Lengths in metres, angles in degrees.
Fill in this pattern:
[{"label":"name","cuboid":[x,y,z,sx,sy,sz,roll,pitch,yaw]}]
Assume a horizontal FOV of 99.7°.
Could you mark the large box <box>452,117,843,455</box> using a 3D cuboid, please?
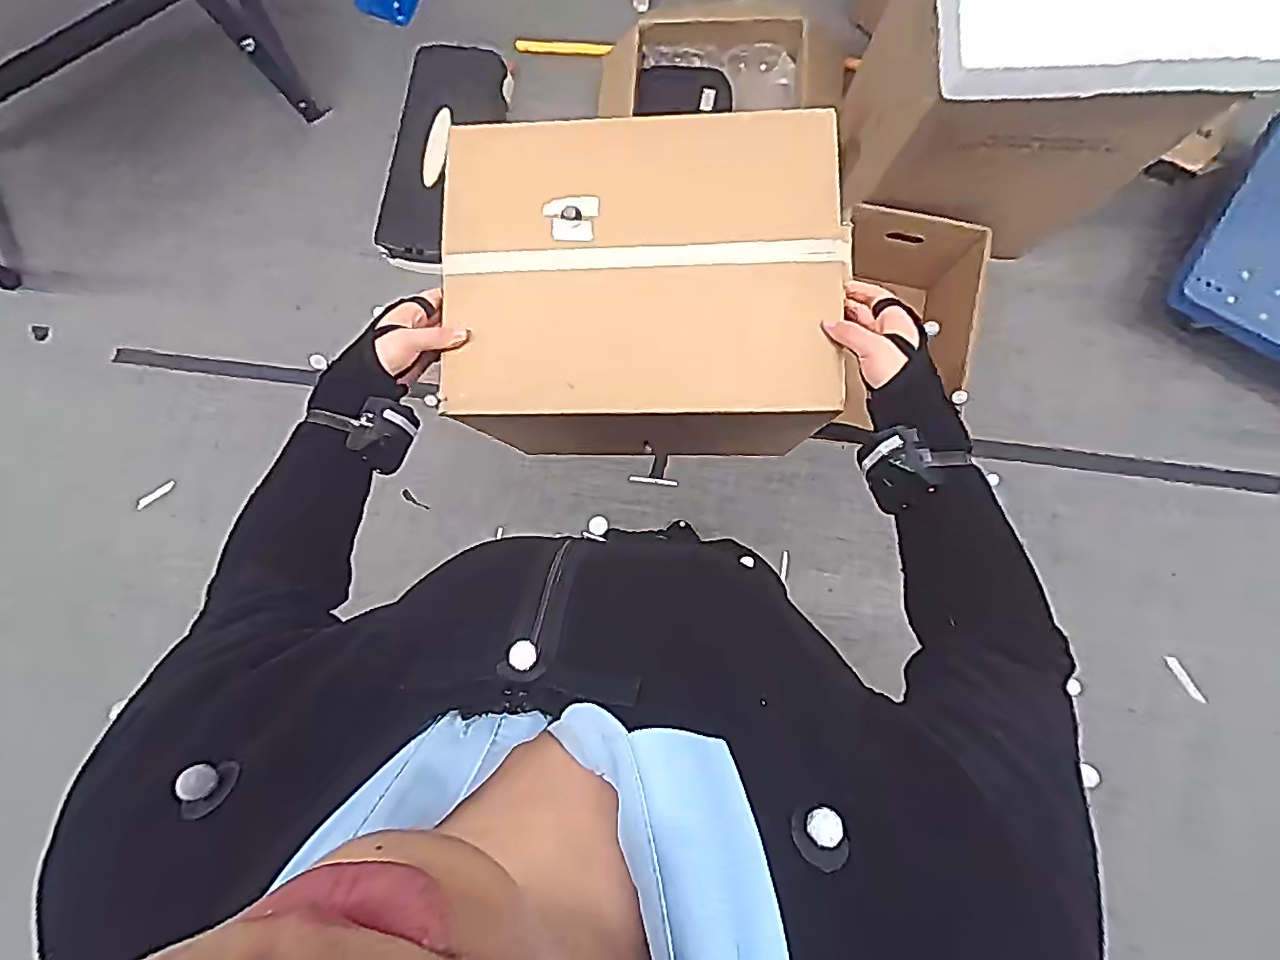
[{"label":"large box","cuboid":[0.016,-0.205,0.706,0.408,0.320,0.320,0,83,5]}]
